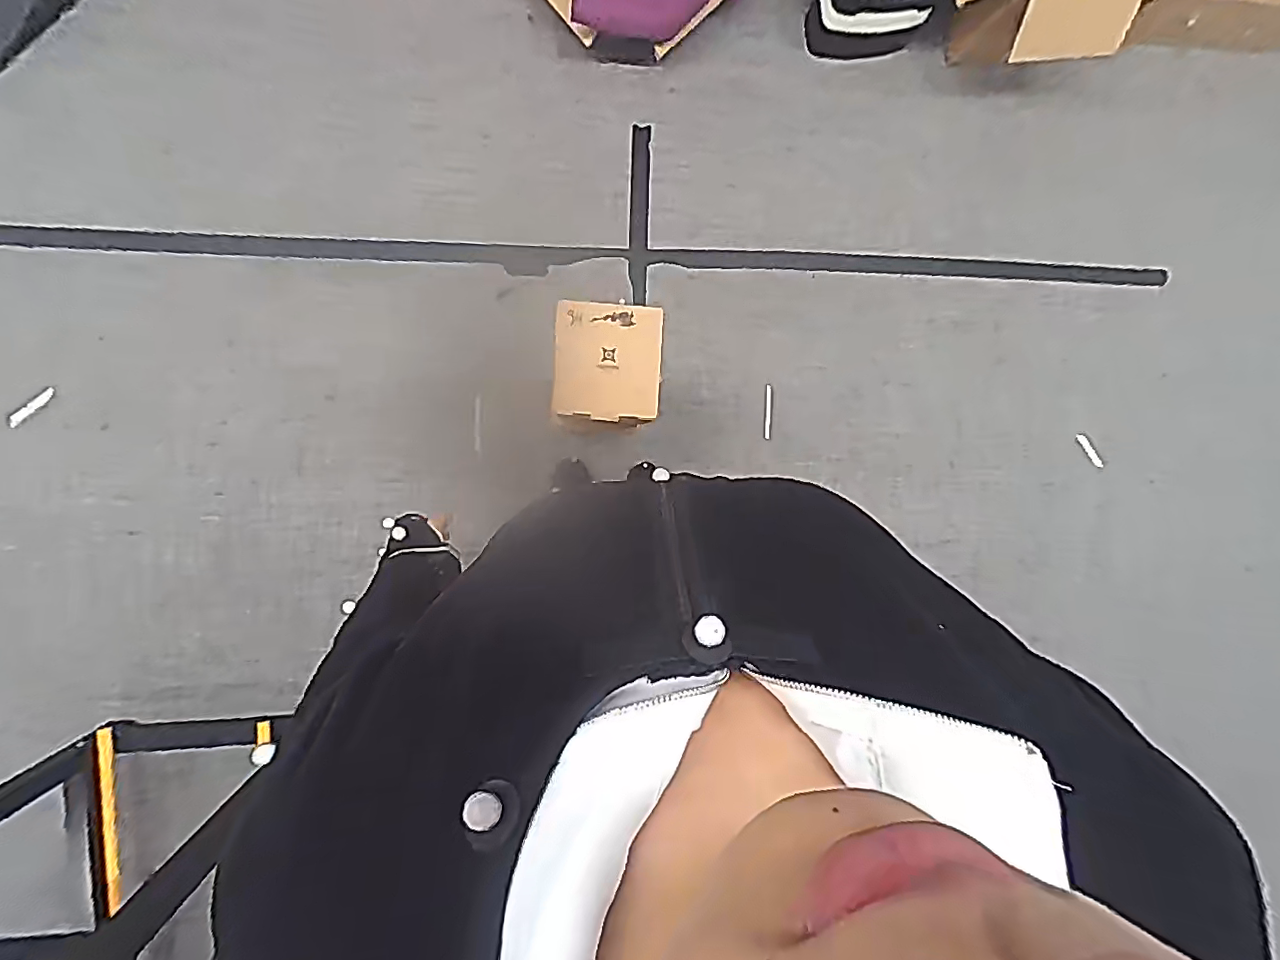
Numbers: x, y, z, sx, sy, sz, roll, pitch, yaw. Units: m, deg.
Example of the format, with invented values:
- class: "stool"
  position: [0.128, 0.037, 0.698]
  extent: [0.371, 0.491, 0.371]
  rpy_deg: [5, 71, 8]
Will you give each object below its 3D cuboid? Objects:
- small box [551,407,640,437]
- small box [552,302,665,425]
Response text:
- class: "small box"
  position: [-0.081, -0.182, 1.067]
  extent: [0.168, 0.176, 0.179]
  rpy_deg: [6, 94, -5]
- class: "small box"
  position: [-0.054, -0.184, 0.904]
  extent: [0.168, 0.176, 0.179]
  rpy_deg: [3, 95, -5]
